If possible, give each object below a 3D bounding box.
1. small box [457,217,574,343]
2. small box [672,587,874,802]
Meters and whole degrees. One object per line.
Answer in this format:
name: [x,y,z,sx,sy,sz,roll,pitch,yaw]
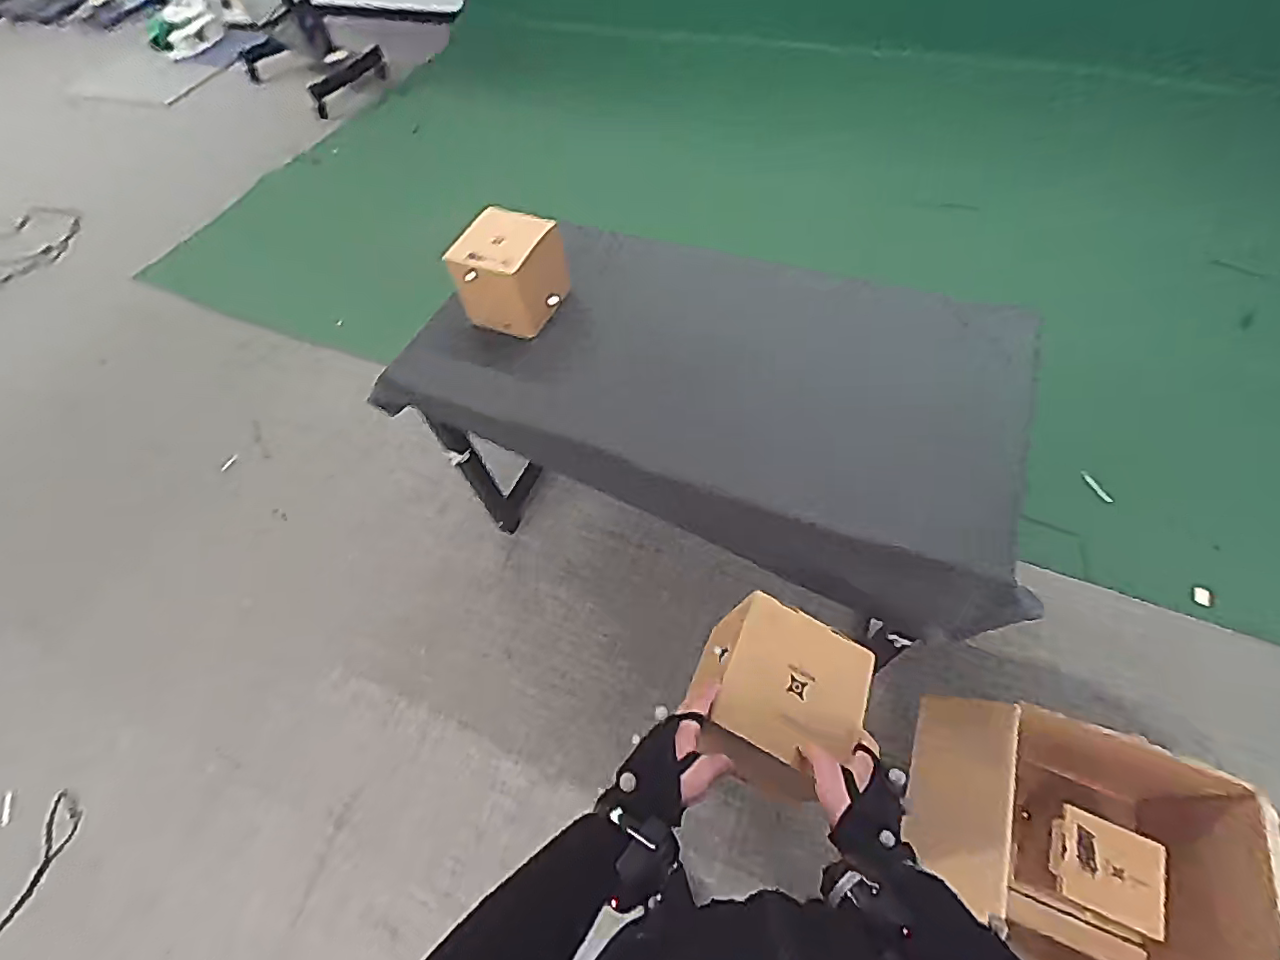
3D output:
small box: [-0.254,-0.428,1.164,0.168,0.176,0.179,20,61,17]
small box: [0.156,0.270,0.672,0.168,0.176,0.179,28,55,4]
